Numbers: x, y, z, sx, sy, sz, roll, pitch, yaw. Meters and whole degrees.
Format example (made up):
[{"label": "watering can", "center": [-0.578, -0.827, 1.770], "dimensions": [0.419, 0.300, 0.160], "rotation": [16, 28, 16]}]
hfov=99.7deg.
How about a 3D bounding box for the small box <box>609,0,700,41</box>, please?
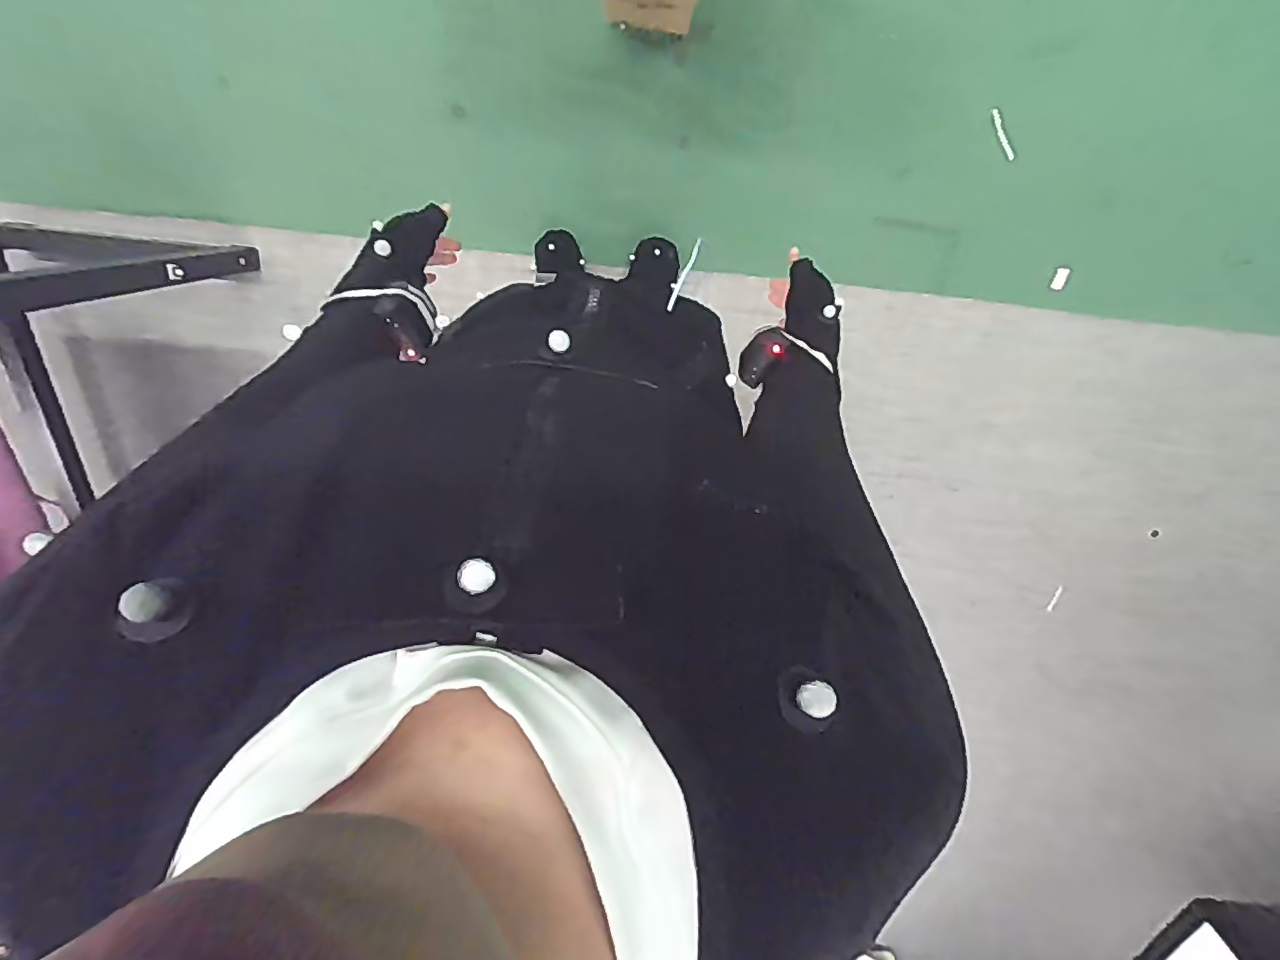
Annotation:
[{"label": "small box", "center": [0.038, -0.955, 1.006], "dimensions": [0.168, 0.176, 0.179], "rotation": [7, 116, -3]}]
